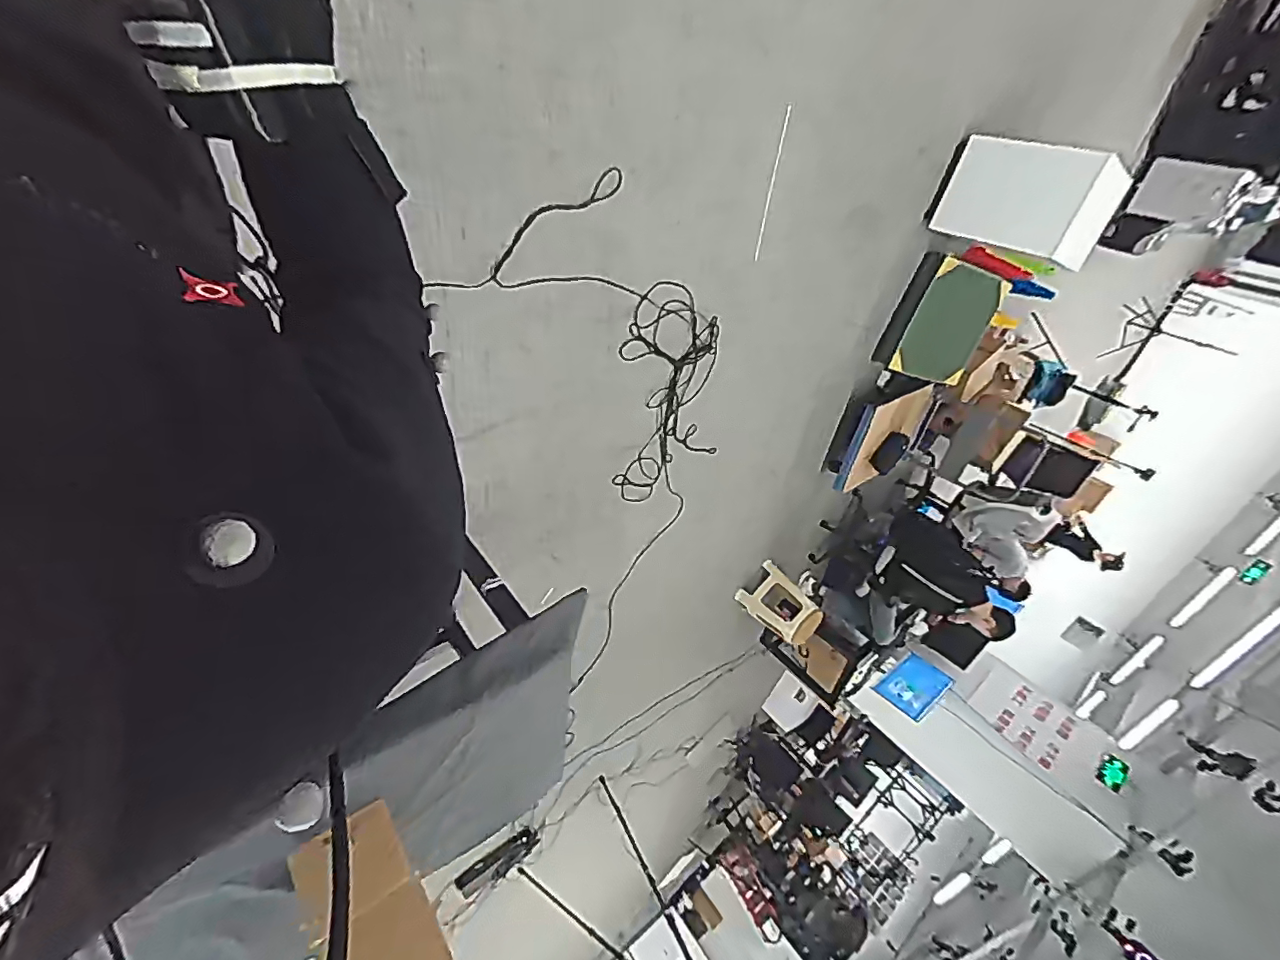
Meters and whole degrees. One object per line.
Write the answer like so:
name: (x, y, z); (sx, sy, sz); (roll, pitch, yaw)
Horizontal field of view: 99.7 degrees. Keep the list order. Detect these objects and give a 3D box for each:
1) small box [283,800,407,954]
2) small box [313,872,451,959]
small box: (-0.539, 0.746, 1.010); (0.168, 0.176, 0.179); (-21, 134, -35)
small box: (-0.432, 0.828, 0.919); (0.179, 0.176, 0.168); (-23, 137, -35)
